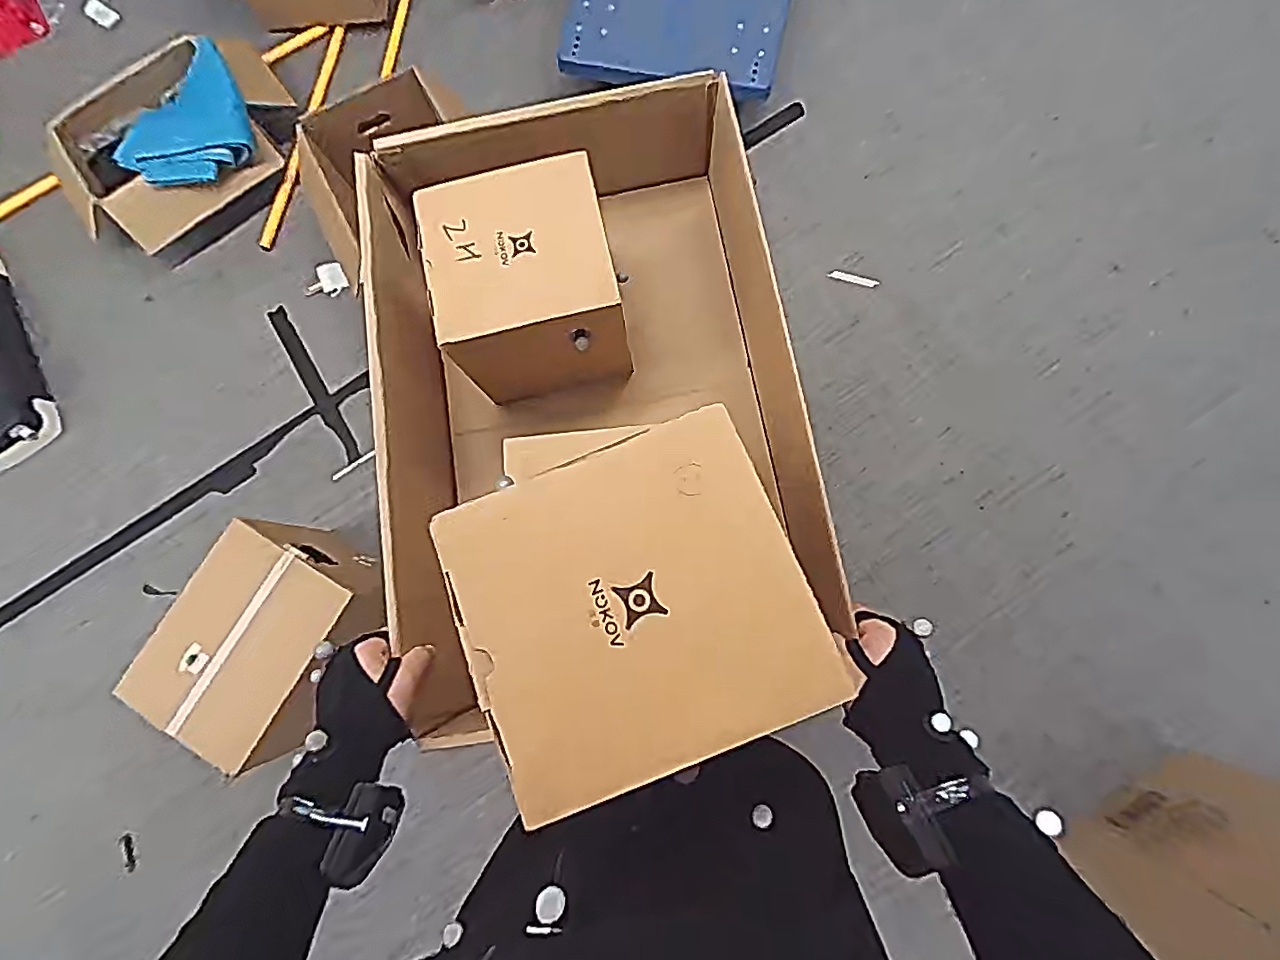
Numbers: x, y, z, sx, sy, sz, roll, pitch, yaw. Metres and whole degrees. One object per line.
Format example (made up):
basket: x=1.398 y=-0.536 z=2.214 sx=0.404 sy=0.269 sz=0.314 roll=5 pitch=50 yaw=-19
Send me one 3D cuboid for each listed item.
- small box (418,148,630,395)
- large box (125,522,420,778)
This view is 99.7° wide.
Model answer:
small box: x=-0.109 y=-0.208 z=0.581 sx=0.179 sy=0.176 sz=0.168 roll=-13 pitch=79 yaw=0
large box: x=-0.780 y=0.349 z=1.212 sx=0.320 sy=0.320 sz=0.408 roll=29 pitch=83 yaw=8
